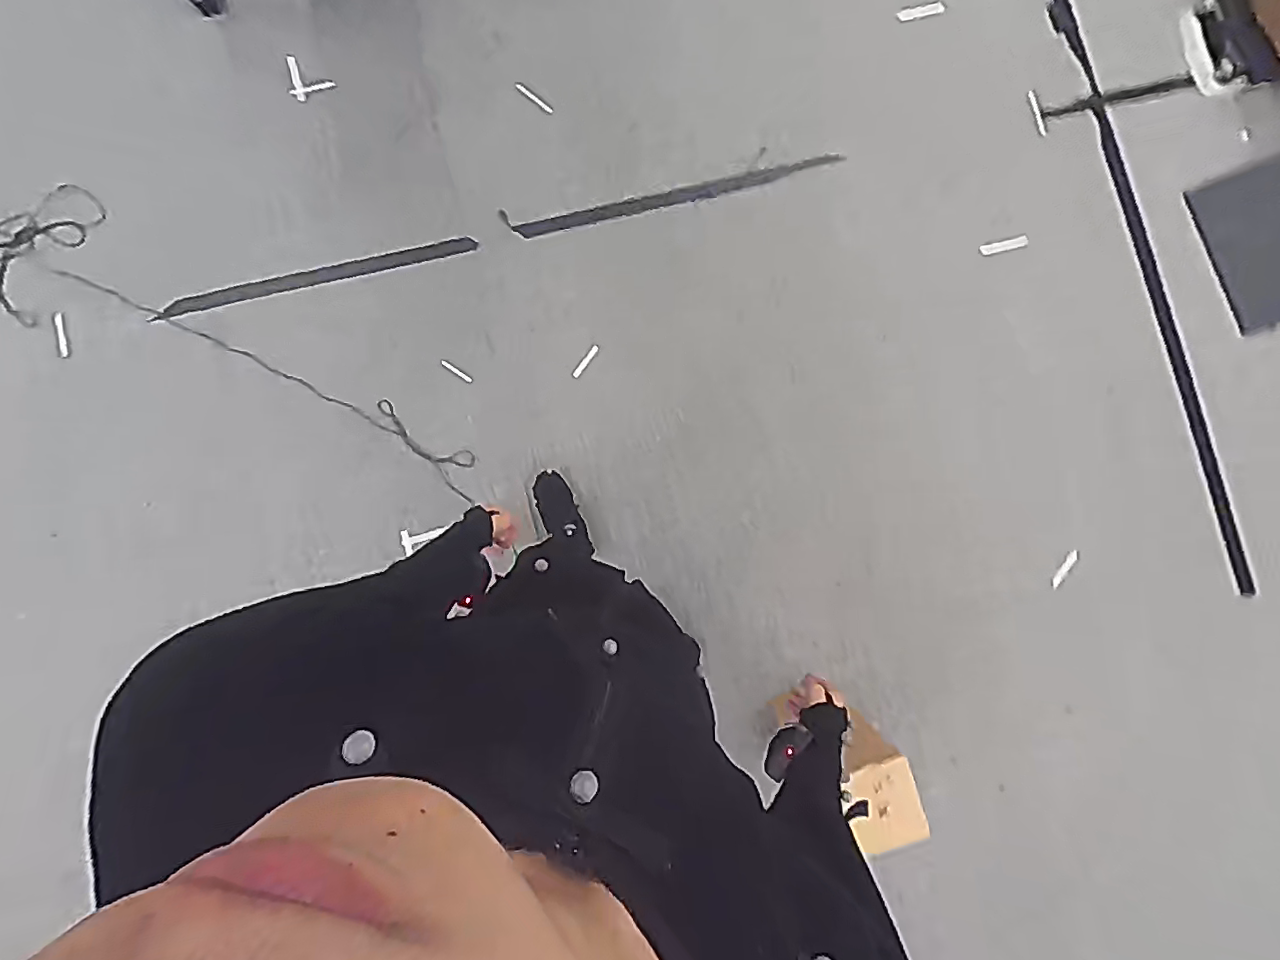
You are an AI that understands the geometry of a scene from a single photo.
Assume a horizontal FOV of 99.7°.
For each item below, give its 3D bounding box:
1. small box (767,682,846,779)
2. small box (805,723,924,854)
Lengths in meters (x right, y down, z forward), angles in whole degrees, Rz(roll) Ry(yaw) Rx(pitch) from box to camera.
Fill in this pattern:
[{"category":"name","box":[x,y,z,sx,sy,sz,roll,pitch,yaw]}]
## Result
[{"category":"small box","box":[0.480,0.703,1.536,0.168,0.176,0.179,-16,88,-3]},{"category":"small box","box":[0.491,0.679,1.209,0.168,0.176,0.179,-16,87,-3]}]
